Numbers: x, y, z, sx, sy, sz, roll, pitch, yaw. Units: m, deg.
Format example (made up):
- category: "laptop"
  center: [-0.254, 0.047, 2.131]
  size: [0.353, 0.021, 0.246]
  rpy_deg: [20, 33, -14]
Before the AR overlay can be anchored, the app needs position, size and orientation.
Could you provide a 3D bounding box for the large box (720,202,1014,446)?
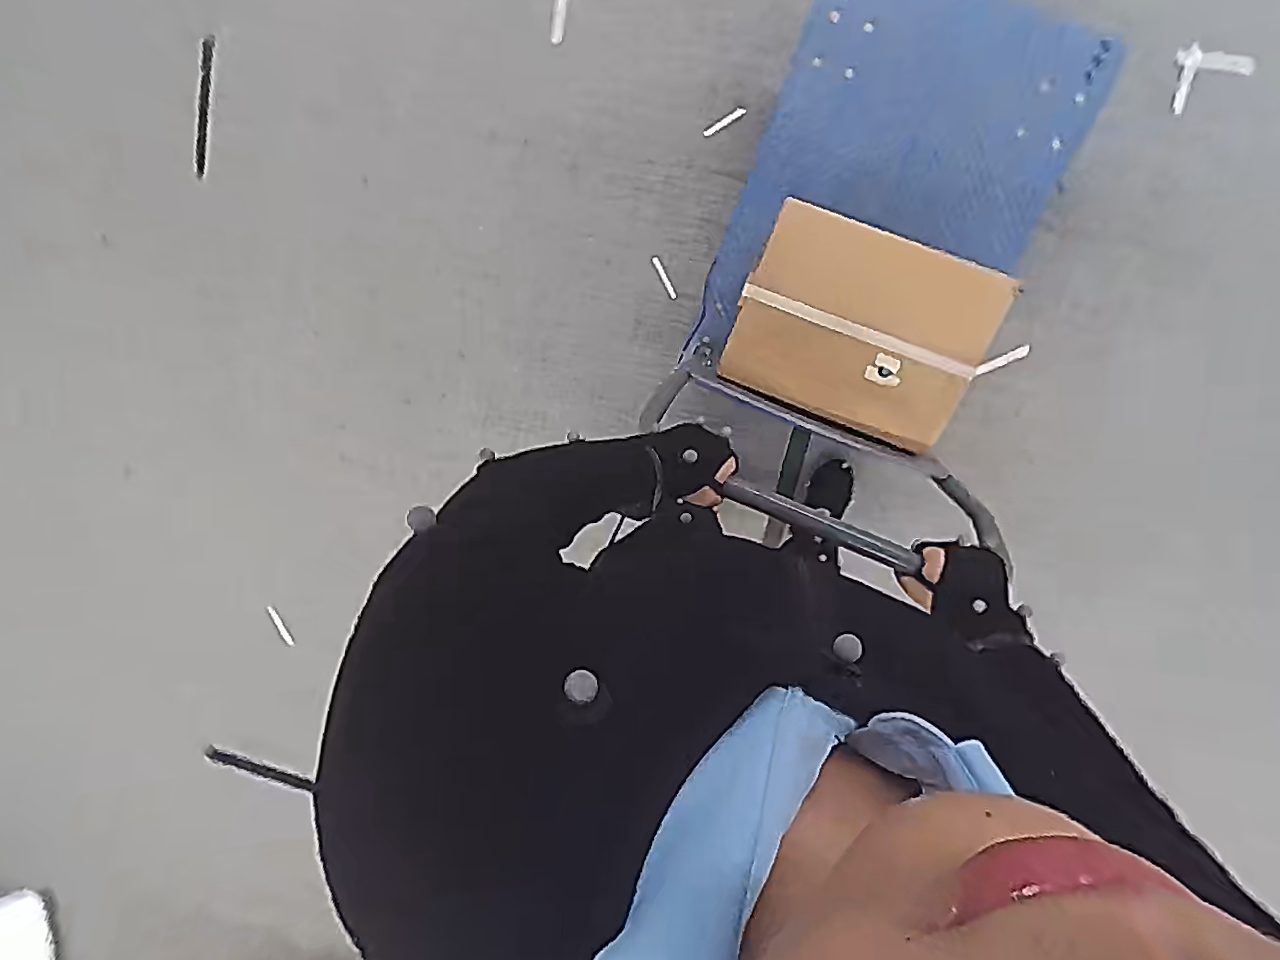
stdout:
- category: "large box"
  center: [0.403, -0.303, 1.080]
  size: [0.408, 0.320, 0.320]
  rpy_deg: [22, 109, 4]
